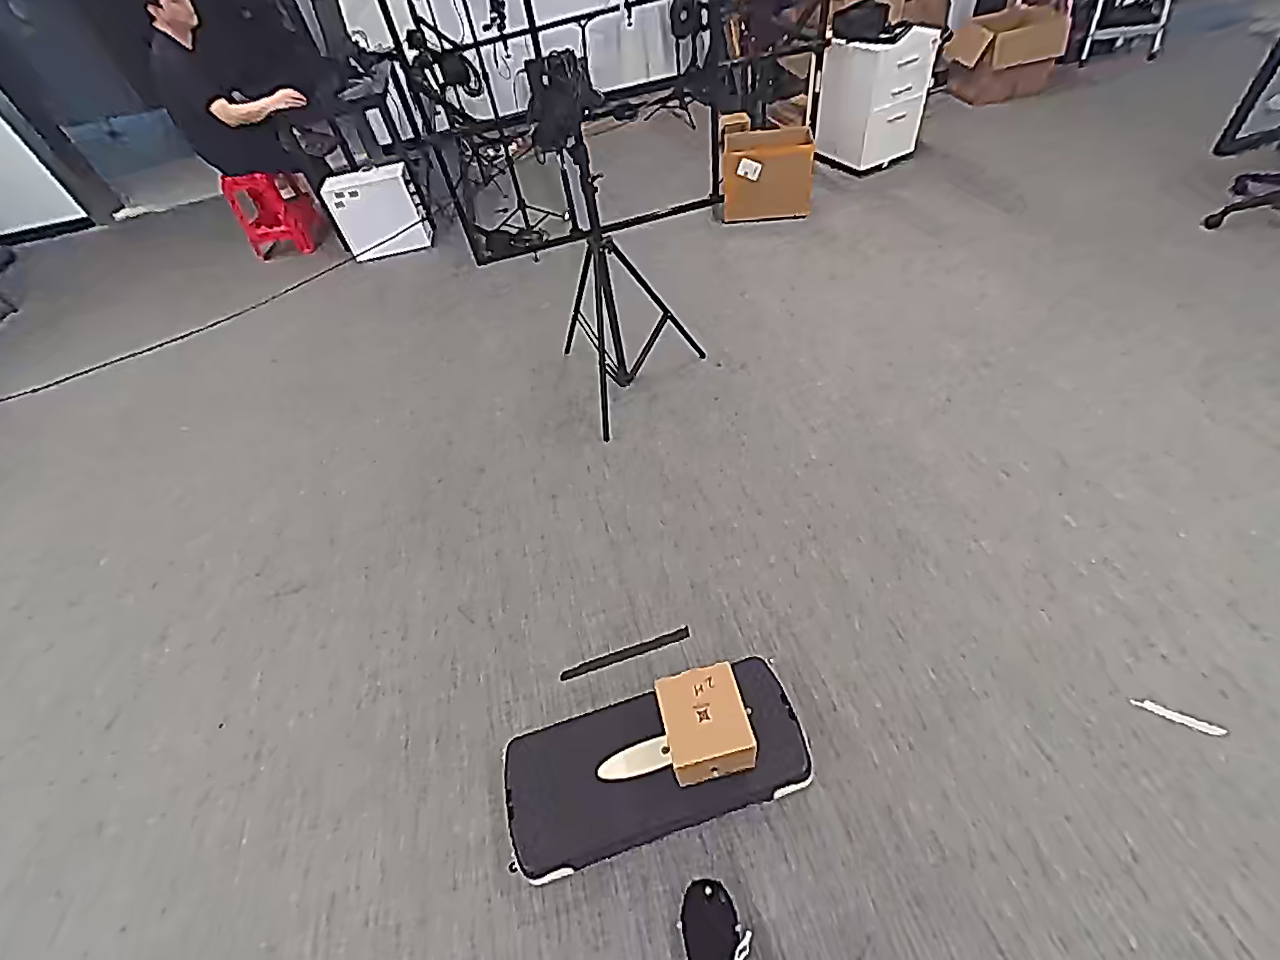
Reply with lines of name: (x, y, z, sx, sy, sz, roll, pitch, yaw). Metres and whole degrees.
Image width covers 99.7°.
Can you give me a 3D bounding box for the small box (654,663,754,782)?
small box: (0.134, 0.515, 1.136, 0.168, 0.176, 0.179, -14, 49, -3)
